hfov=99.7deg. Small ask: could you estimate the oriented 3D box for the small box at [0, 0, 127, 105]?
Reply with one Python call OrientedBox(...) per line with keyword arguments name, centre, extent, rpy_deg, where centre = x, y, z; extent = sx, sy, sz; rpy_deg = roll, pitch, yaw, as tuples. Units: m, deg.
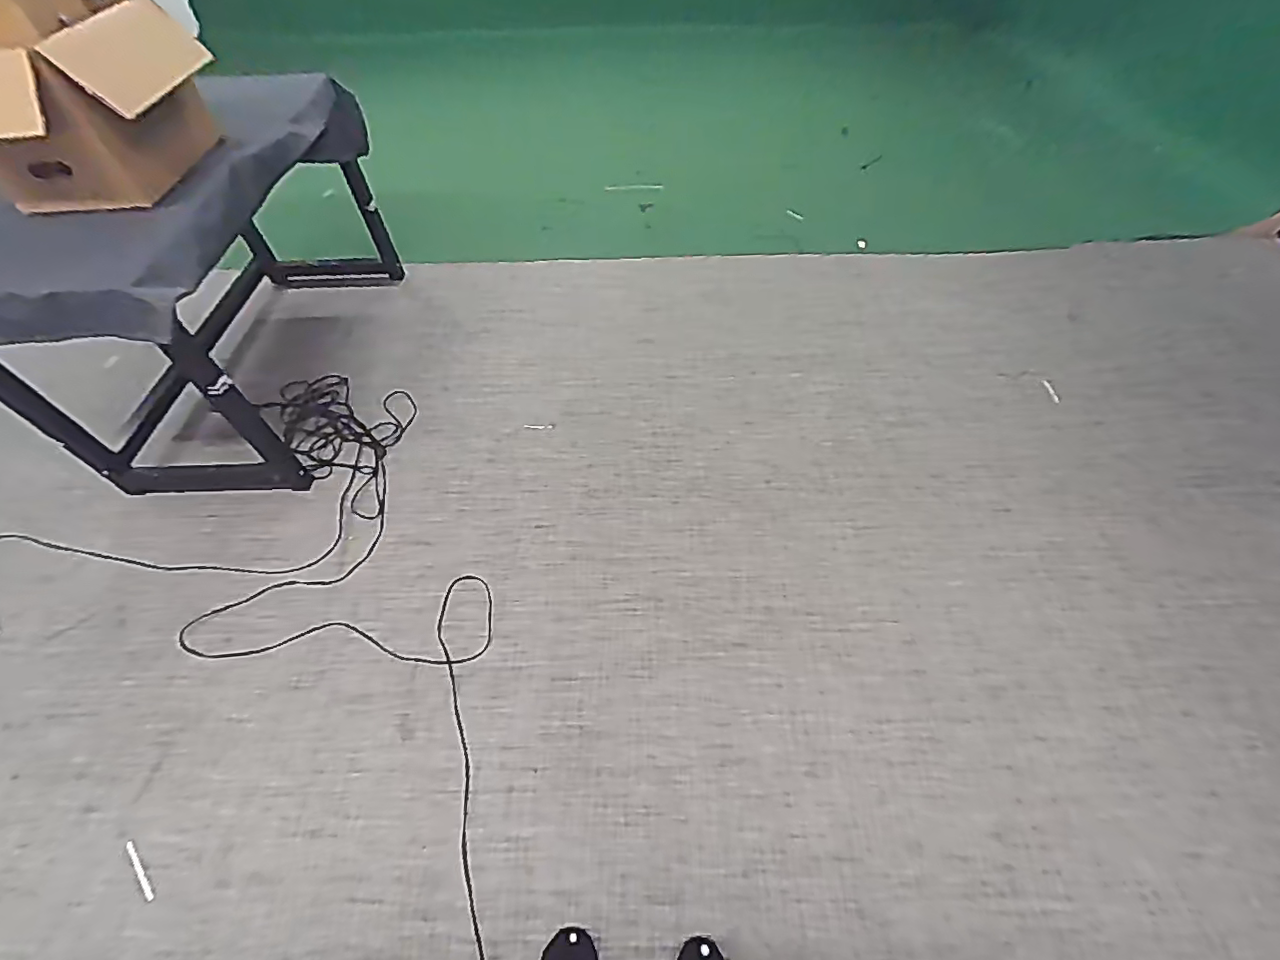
OrientedBox(name="small box", centre=(-1.306, -0.953, 1.193), extent=(0.168, 0.176, 0.179), rpy_deg=(-2, 53, 1))
